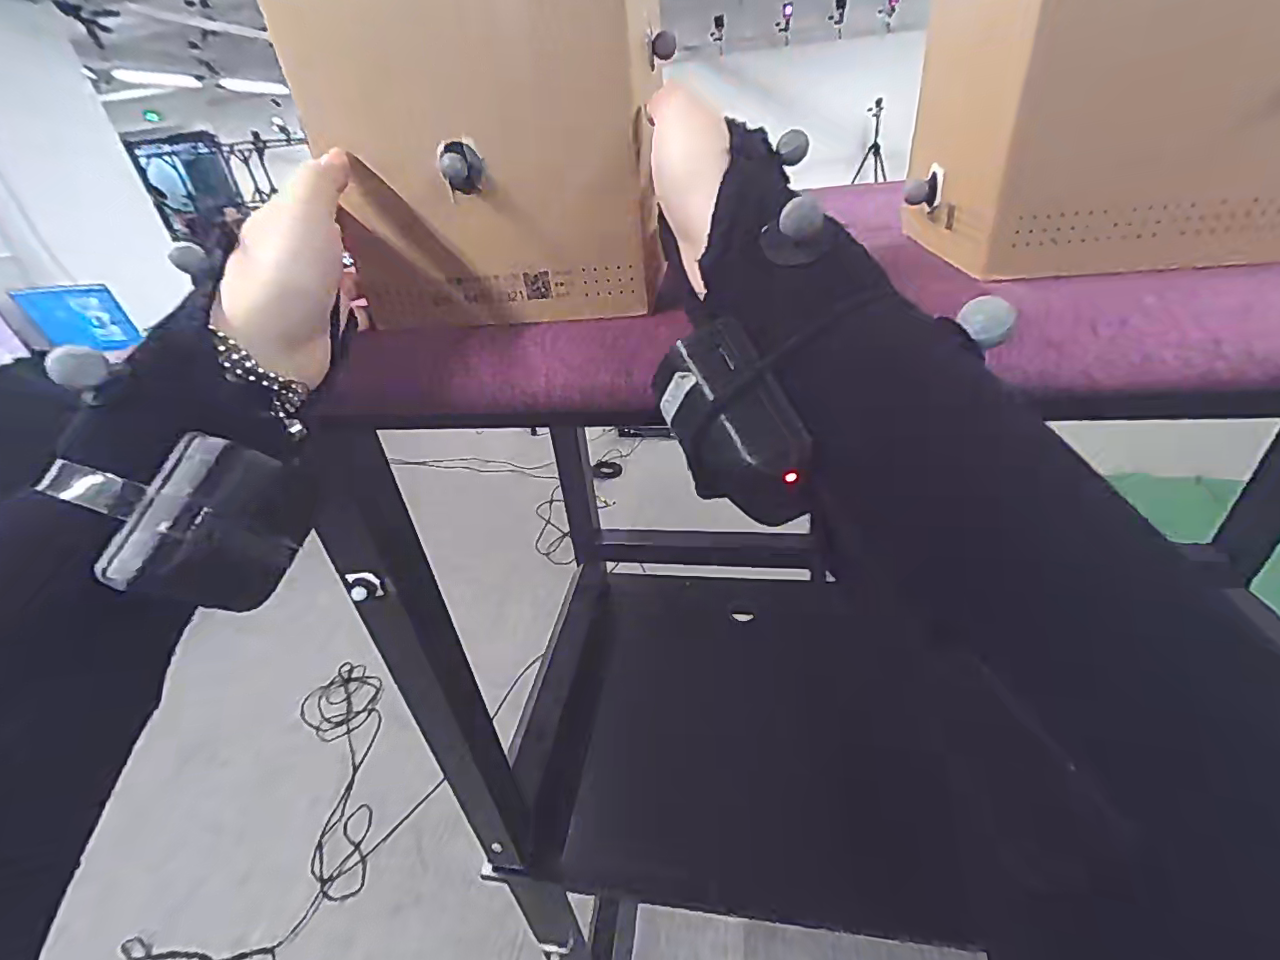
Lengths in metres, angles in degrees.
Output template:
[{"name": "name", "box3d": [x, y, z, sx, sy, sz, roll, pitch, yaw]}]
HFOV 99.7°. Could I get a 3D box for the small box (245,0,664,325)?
[{"name": "small box", "box3d": [-0.076, -0.199, 0.331, 0.168, 0.176, 0.179, 0, 33, 8]}]
